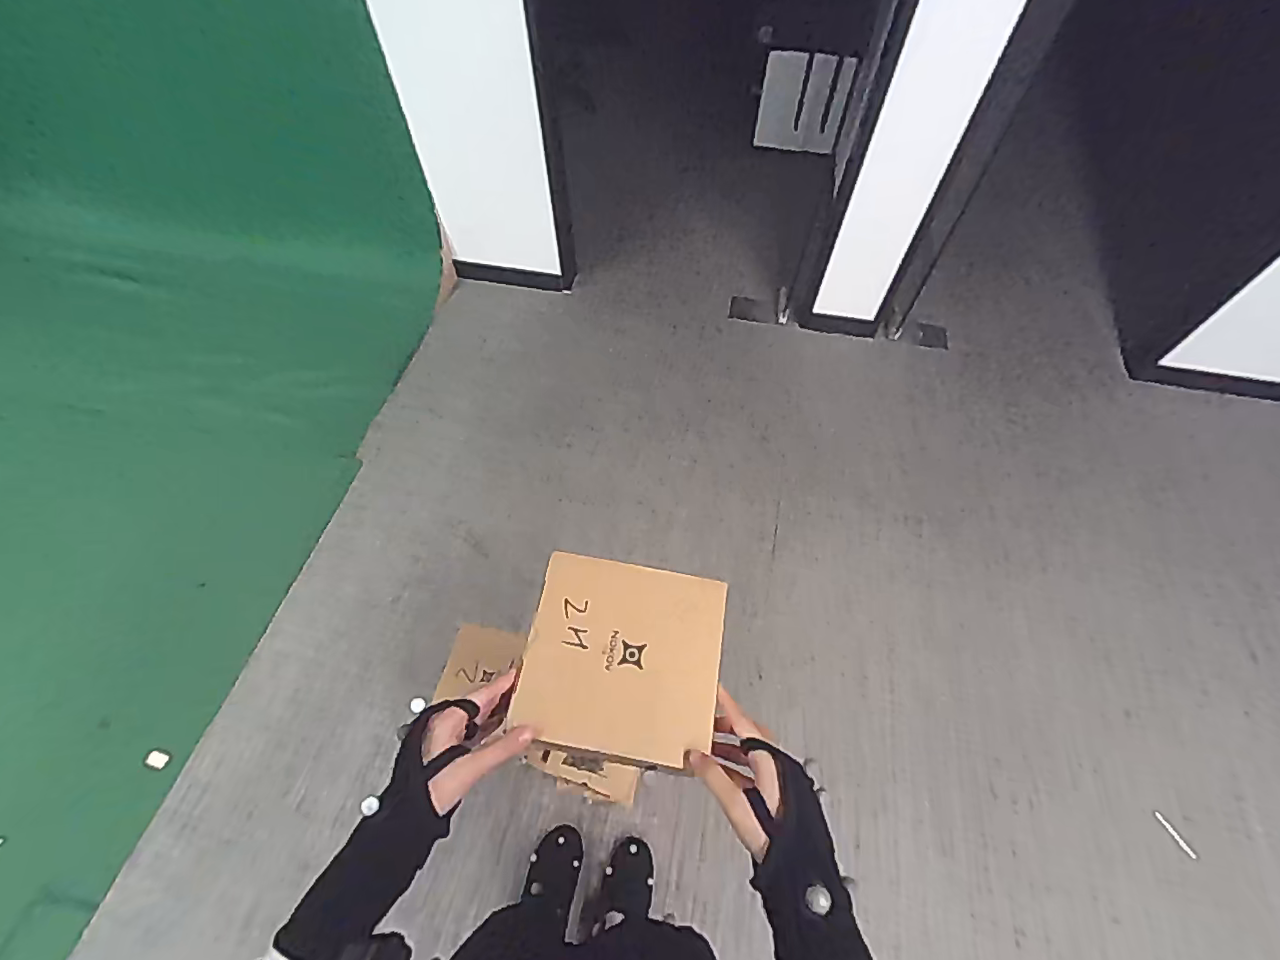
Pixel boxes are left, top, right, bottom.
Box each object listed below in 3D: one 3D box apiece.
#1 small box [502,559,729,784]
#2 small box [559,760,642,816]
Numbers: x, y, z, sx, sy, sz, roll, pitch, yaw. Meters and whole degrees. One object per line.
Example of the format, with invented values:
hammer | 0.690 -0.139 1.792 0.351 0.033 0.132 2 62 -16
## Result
small box | -0.017 0.199 0.548 0.179 0.176 0.168 9 60 4
small box | -0.074 0.647 1.235 0.168 0.176 0.179 11 60 7
